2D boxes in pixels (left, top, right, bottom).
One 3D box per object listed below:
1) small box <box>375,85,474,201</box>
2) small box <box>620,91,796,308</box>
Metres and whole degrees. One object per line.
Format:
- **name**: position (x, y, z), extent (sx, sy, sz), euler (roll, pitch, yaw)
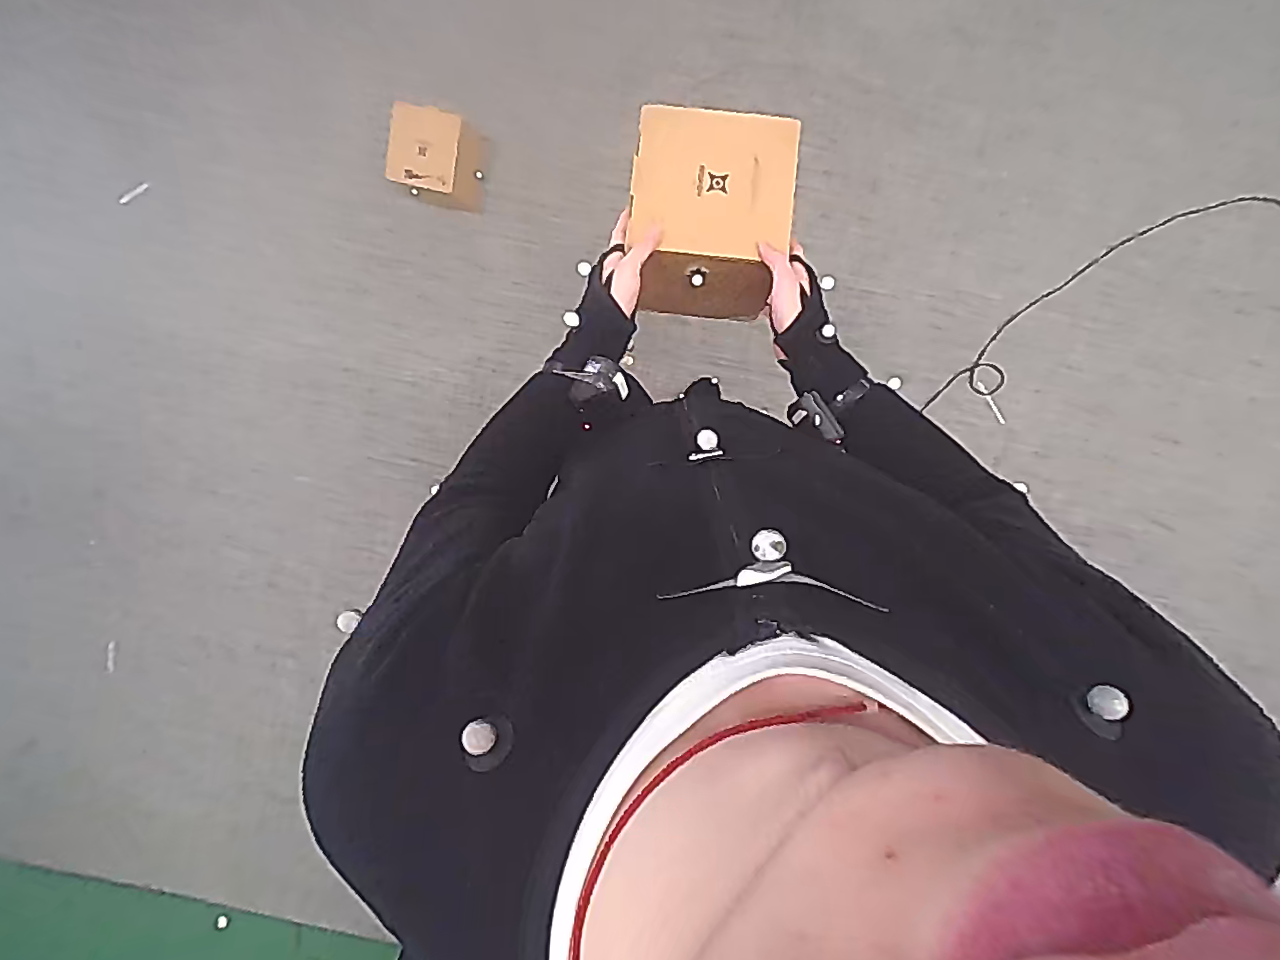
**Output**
- **small box**: position (-0.525, -0.824, 1.338), extent (0.168, 0.176, 0.179), euler (13, 102, -1)
- **small box**: position (0.072, -0.323, 0.656), extent (0.179, 0.176, 0.168), euler (6, 86, -2)
